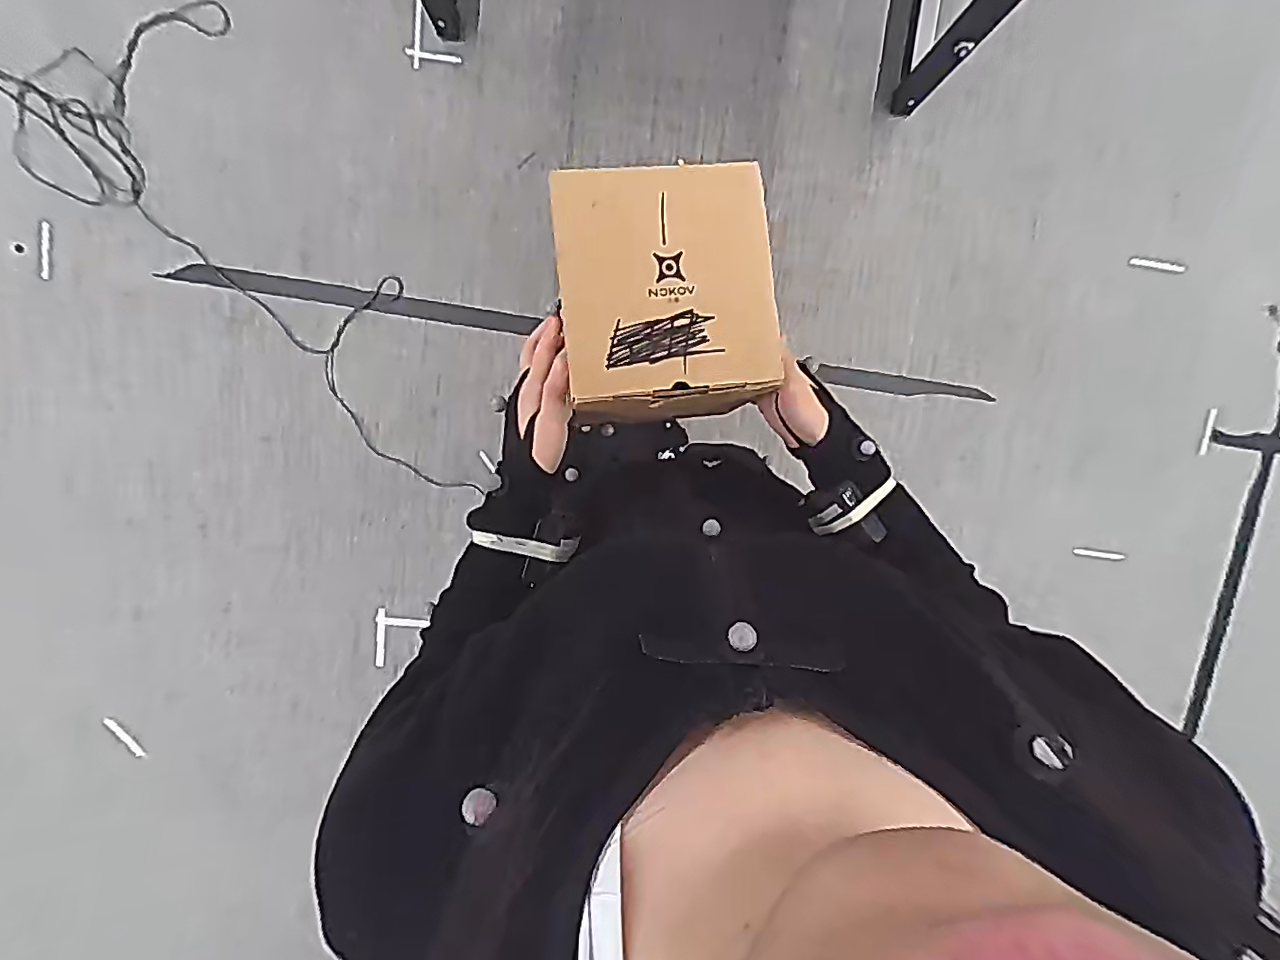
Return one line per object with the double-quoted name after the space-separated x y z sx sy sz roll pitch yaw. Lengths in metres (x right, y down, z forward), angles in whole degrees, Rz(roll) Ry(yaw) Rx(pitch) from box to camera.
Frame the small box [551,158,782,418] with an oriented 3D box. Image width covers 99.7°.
0.014 -0.154 0.490 0.168 0.176 0.179 -6 88 -6 "small box"
